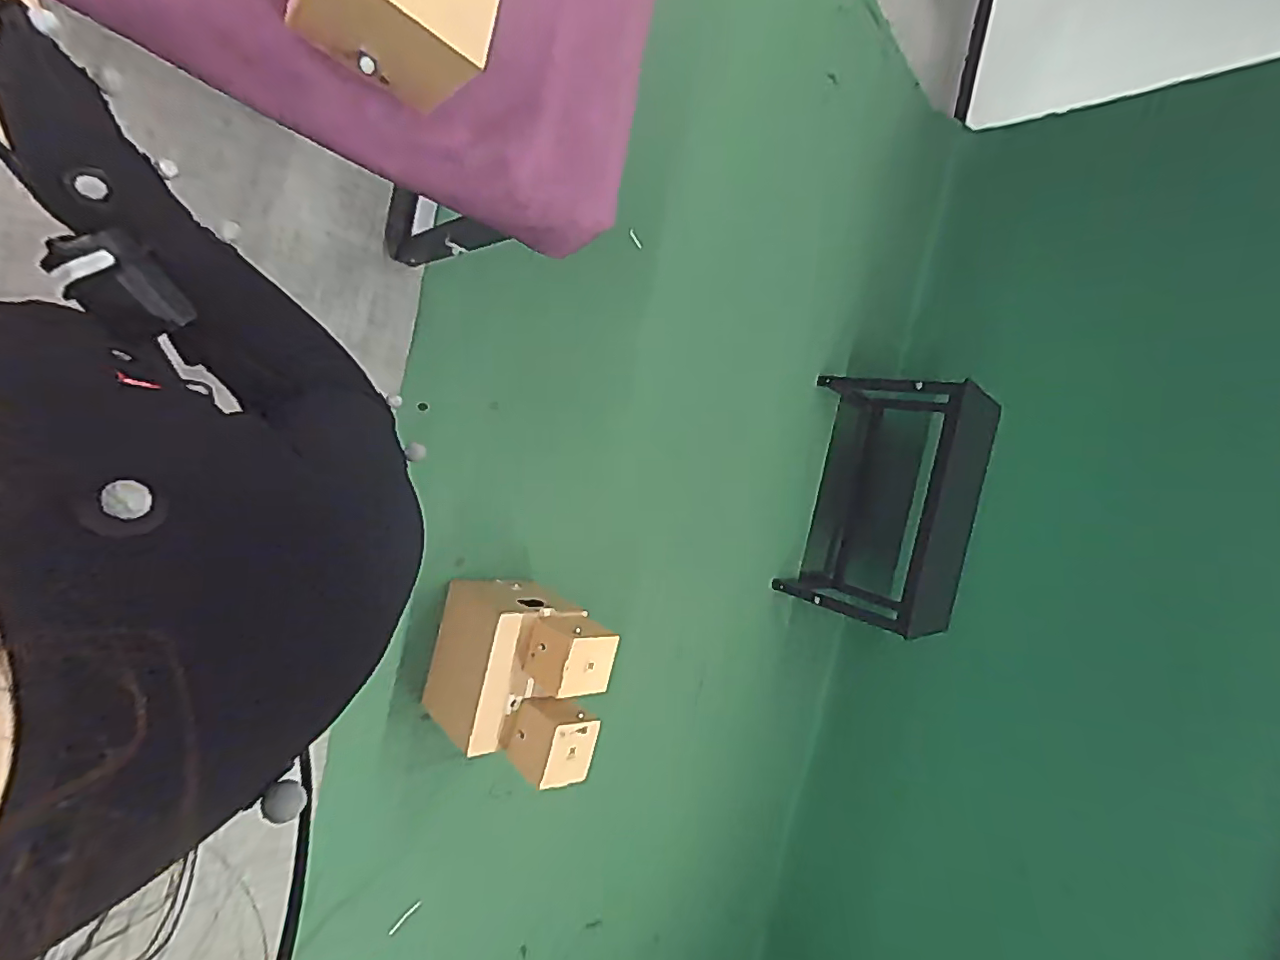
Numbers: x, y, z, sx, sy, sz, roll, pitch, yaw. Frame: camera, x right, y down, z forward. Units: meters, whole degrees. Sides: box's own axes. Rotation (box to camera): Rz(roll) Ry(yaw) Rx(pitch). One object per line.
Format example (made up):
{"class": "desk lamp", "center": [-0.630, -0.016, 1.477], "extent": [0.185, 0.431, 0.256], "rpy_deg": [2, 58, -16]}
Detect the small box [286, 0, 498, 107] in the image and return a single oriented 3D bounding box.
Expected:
{"class": "small box", "center": [-0.266, -0.564, 0.594], "extent": [0.168, 0.176, 0.179], "rpy_deg": [11, 93, -45]}

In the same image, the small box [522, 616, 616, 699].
{"class": "small box", "center": [-0.199, 0.489, 1.516], "extent": [0.179, 0.176, 0.168], "rpy_deg": [13, 92, -45]}

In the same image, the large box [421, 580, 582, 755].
{"class": "large box", "center": [-0.426, 0.541, 1.652], "extent": [0.320, 0.320, 0.408], "rpy_deg": [13, 92, -45]}

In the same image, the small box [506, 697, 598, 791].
{"class": "small box", "center": [-0.253, 0.732, 1.521], "extent": [0.168, 0.176, 0.179], "rpy_deg": [20, 86, -46]}
